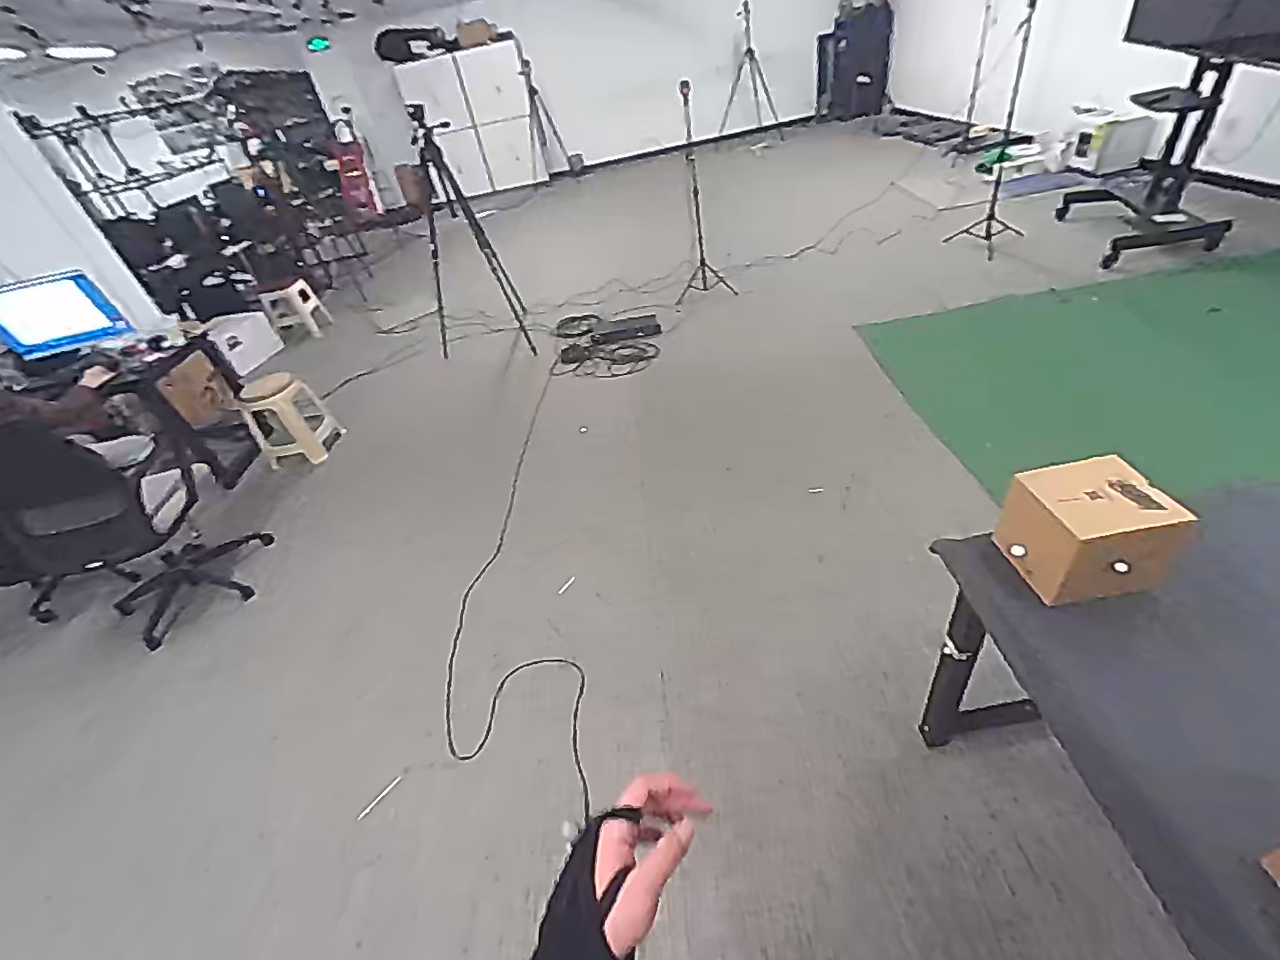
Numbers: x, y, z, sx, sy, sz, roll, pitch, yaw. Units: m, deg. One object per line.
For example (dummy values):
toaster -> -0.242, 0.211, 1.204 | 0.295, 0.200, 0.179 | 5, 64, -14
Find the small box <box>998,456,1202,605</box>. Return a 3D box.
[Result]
small box -> 0.749, 0.086, 0.907 | 0.179, 0.176, 0.168 | -11, 39, 3
